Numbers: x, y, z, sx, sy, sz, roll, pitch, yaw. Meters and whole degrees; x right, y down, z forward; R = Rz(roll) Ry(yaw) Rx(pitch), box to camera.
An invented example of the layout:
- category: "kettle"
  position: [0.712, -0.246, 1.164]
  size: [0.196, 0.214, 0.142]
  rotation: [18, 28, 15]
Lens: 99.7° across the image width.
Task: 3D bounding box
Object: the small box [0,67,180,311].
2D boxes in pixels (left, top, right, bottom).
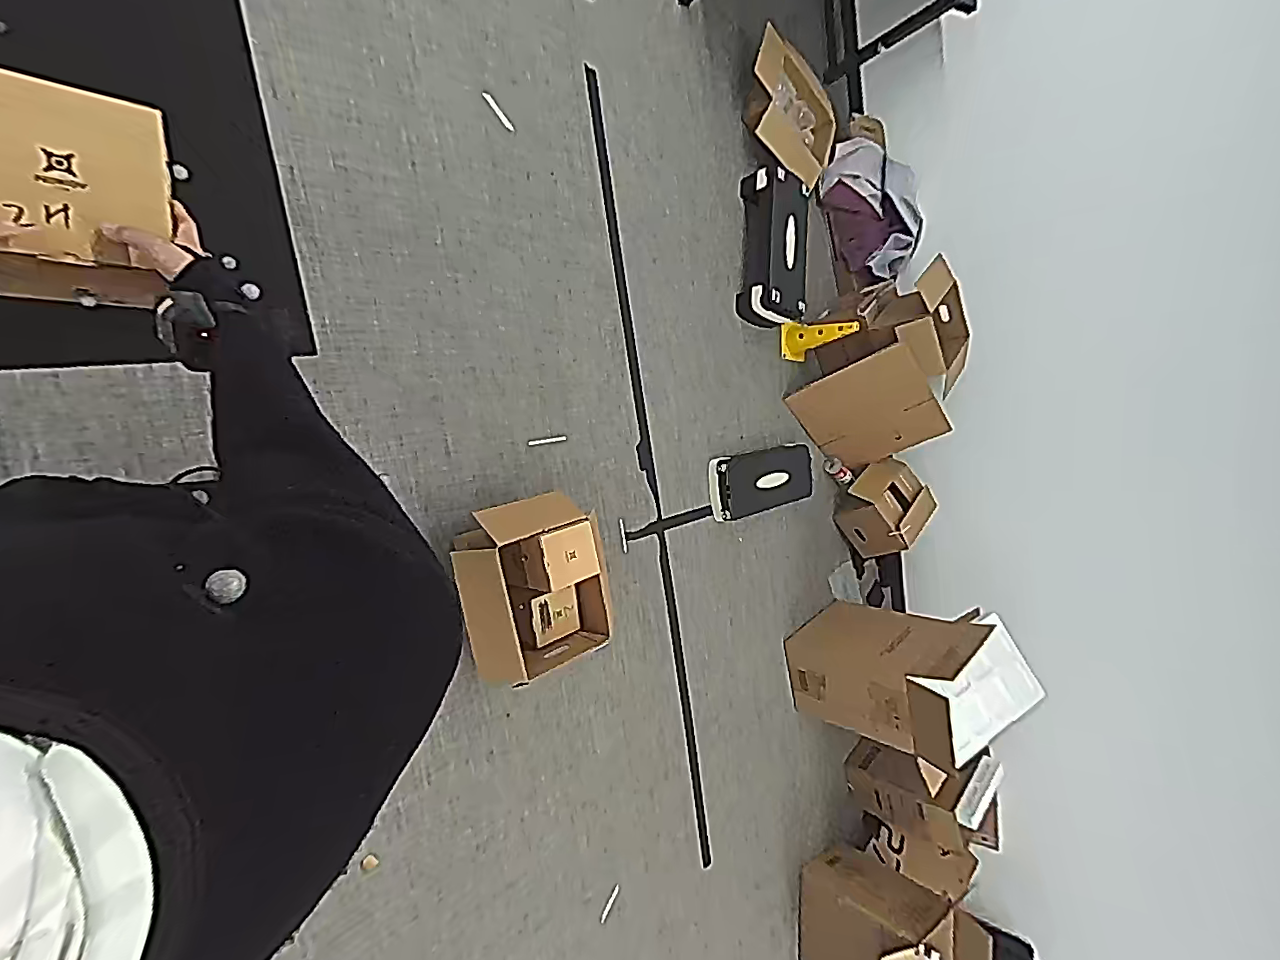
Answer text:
- category: "small box"
  position: [-0.616, -0.300, 0.588]
  size: [0.168, 0.176, 0.179]
  rotation: [-6, 94, -39]
